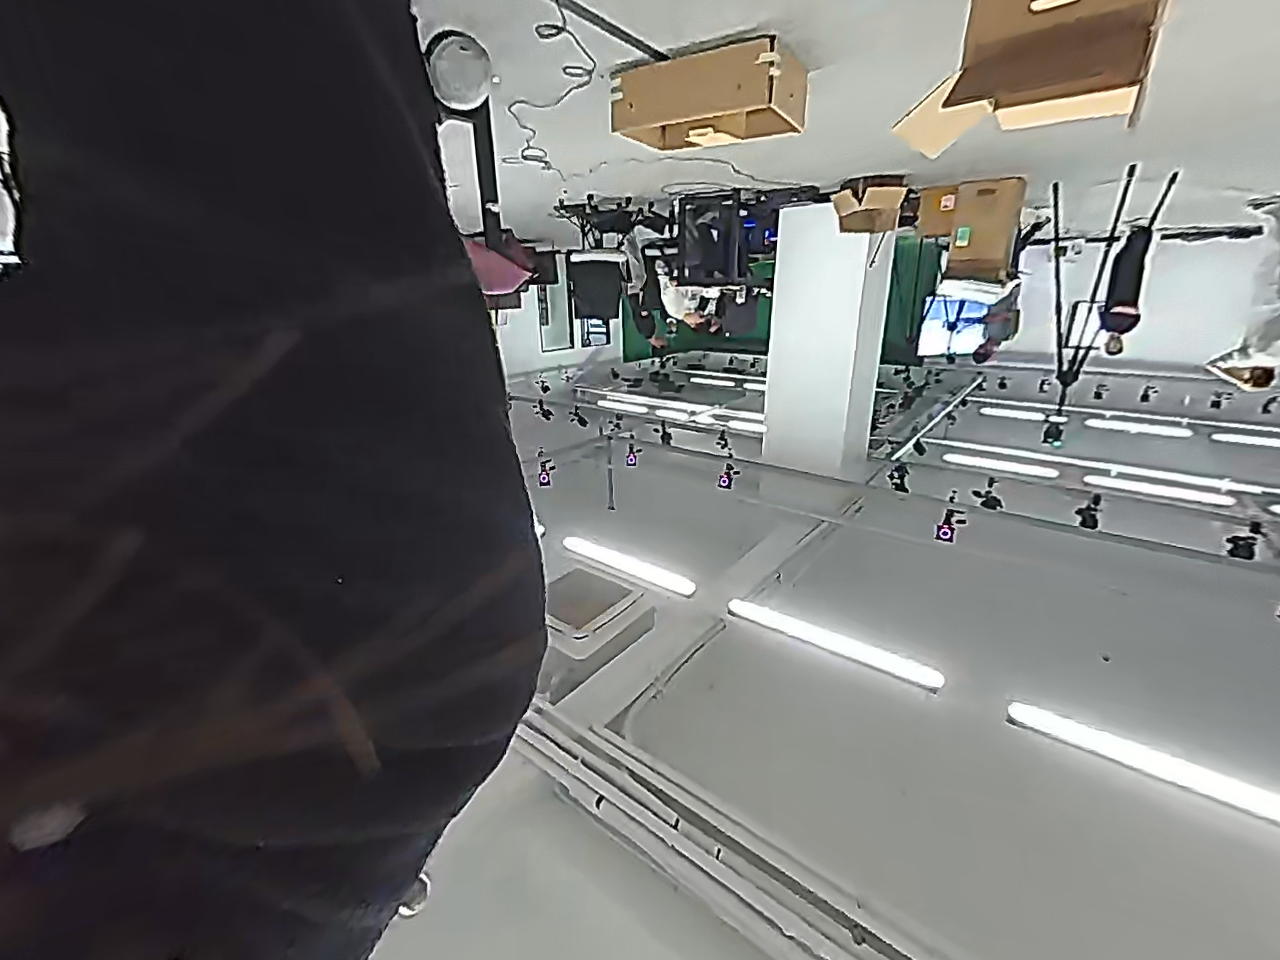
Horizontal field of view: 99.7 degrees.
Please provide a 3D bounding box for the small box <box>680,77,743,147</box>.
[{"bbox_3d":[0.258,-1.329,1.954,0.168,0.176,0.179,15,-155,34],"label":"small box"}]
